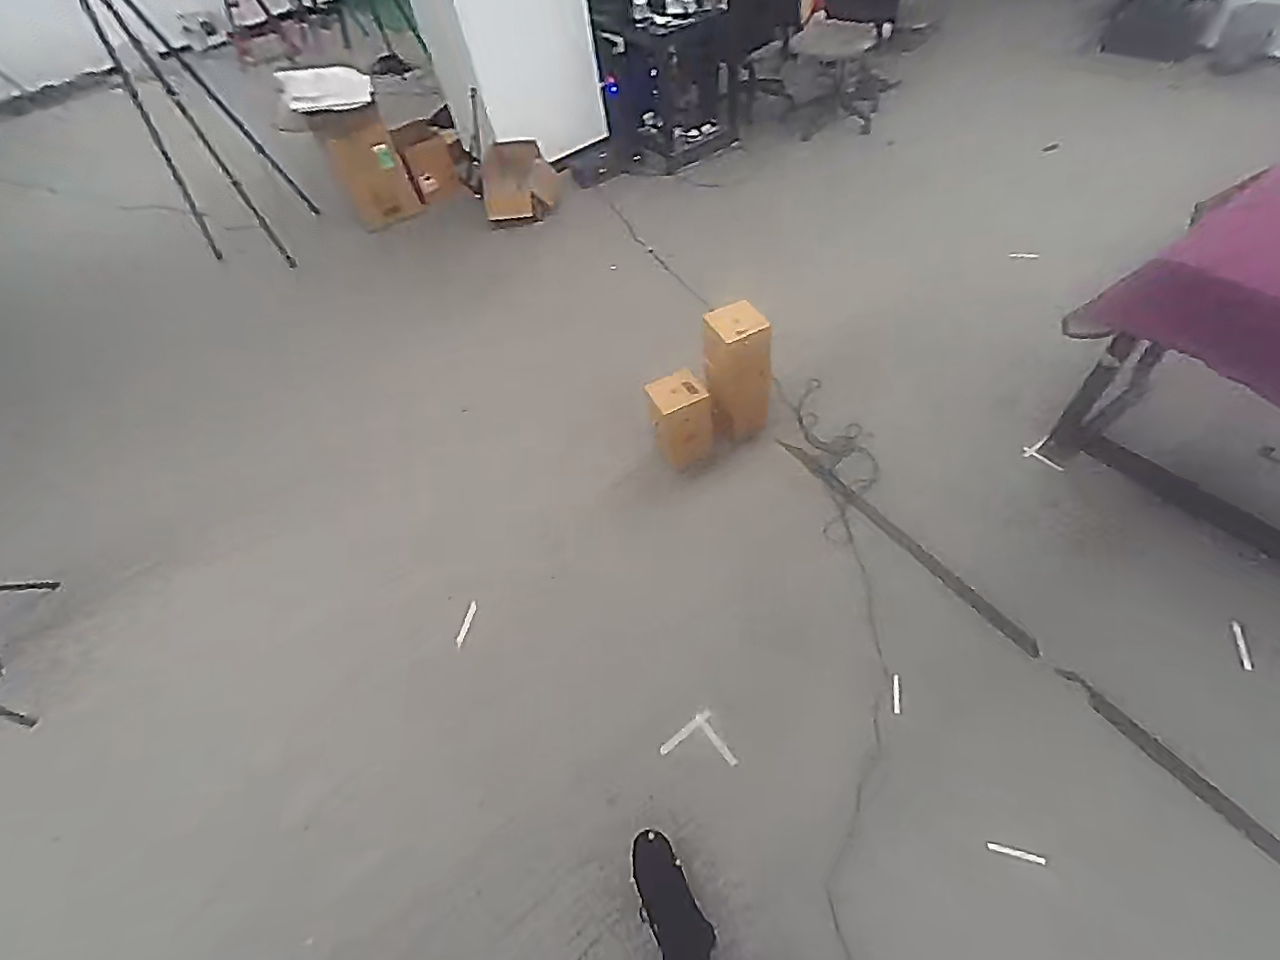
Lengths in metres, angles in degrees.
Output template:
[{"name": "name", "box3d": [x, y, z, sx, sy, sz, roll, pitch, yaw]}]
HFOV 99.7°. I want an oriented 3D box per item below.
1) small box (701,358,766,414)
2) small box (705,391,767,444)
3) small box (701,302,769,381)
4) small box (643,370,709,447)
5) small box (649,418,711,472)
[{"name": "small box", "box3d": [0.344, -0.369, 1.958, 0.179, 0.176, 0.168, -31, 54, -13]}, {"name": "small box", "box3d": [0.367, -0.271, 2.085, 0.168, 0.176, 0.179, -32, 54, -14]}, {"name": "small box", "box3d": [0.319, -0.465, 1.827, 0.168, 0.176, 0.179, -25, 52, -8]}, {"name": "small box", "box3d": [0.130, -0.248, 1.898, 0.179, 0.176, 0.168, -25, 53, -8]}, {"name": "small box", "box3d": [0.152, -0.162, 2.037, 0.168, 0.176, 0.179, -28, 54, -11]}]
